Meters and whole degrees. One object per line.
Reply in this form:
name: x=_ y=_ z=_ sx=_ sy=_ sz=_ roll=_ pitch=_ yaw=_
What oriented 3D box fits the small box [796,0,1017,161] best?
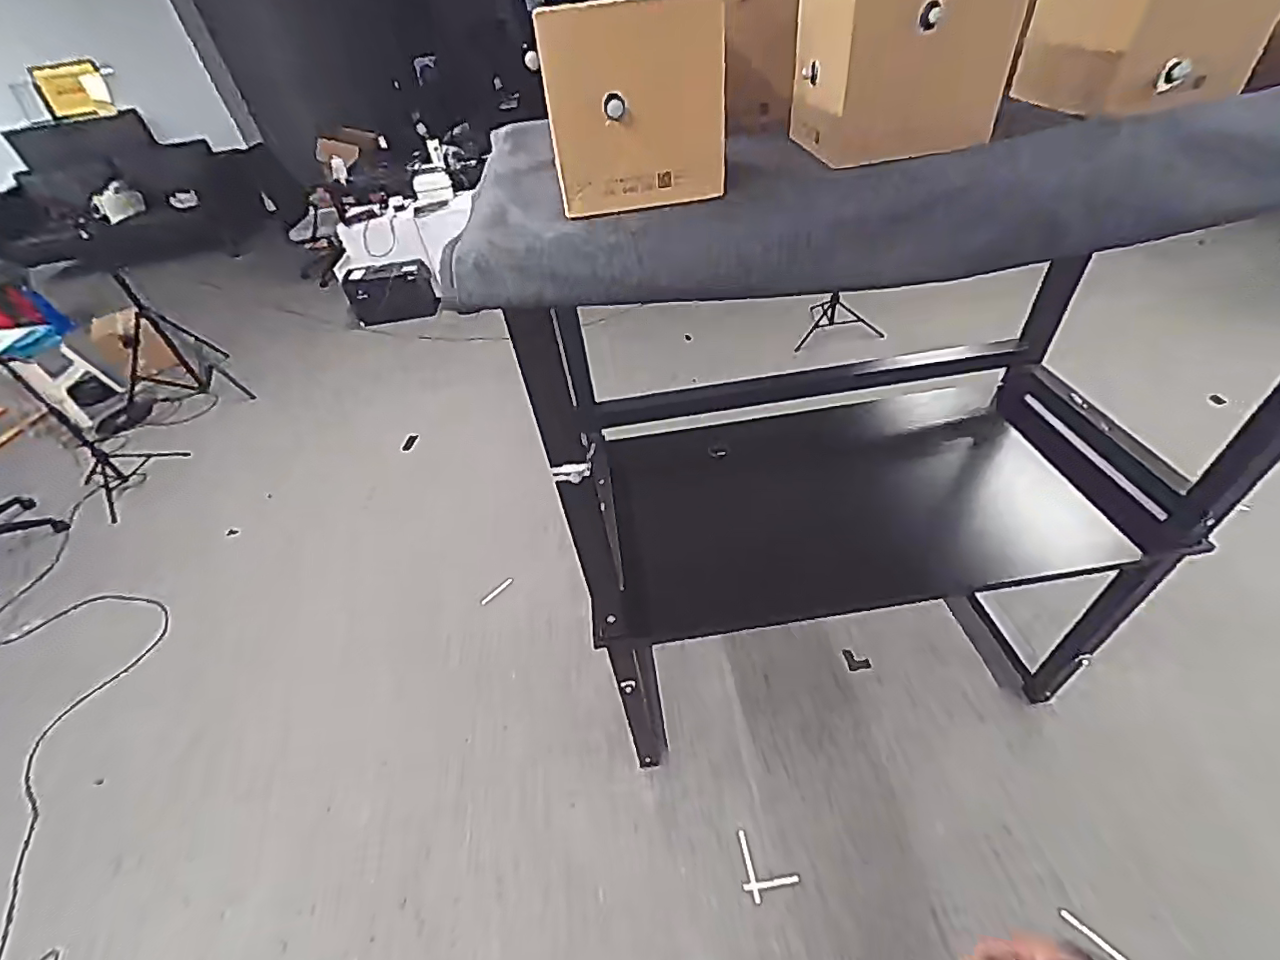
small box: x=0.278 y=-0.467 z=0.593 sx=0.179 sy=0.176 sz=0.168 roll=-8 pitch=44 yaw=0

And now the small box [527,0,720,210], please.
small box: x=-0.013 y=-0.394 z=0.562 sx=0.168 sy=0.176 sz=0.179 roll=-9 pitch=42 yaw=-1

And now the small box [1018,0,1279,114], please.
small box: x=0.583 y=-0.537 z=0.618 sx=0.168 sy=0.176 sz=0.179 roll=-9 pitch=43 yaw=1
